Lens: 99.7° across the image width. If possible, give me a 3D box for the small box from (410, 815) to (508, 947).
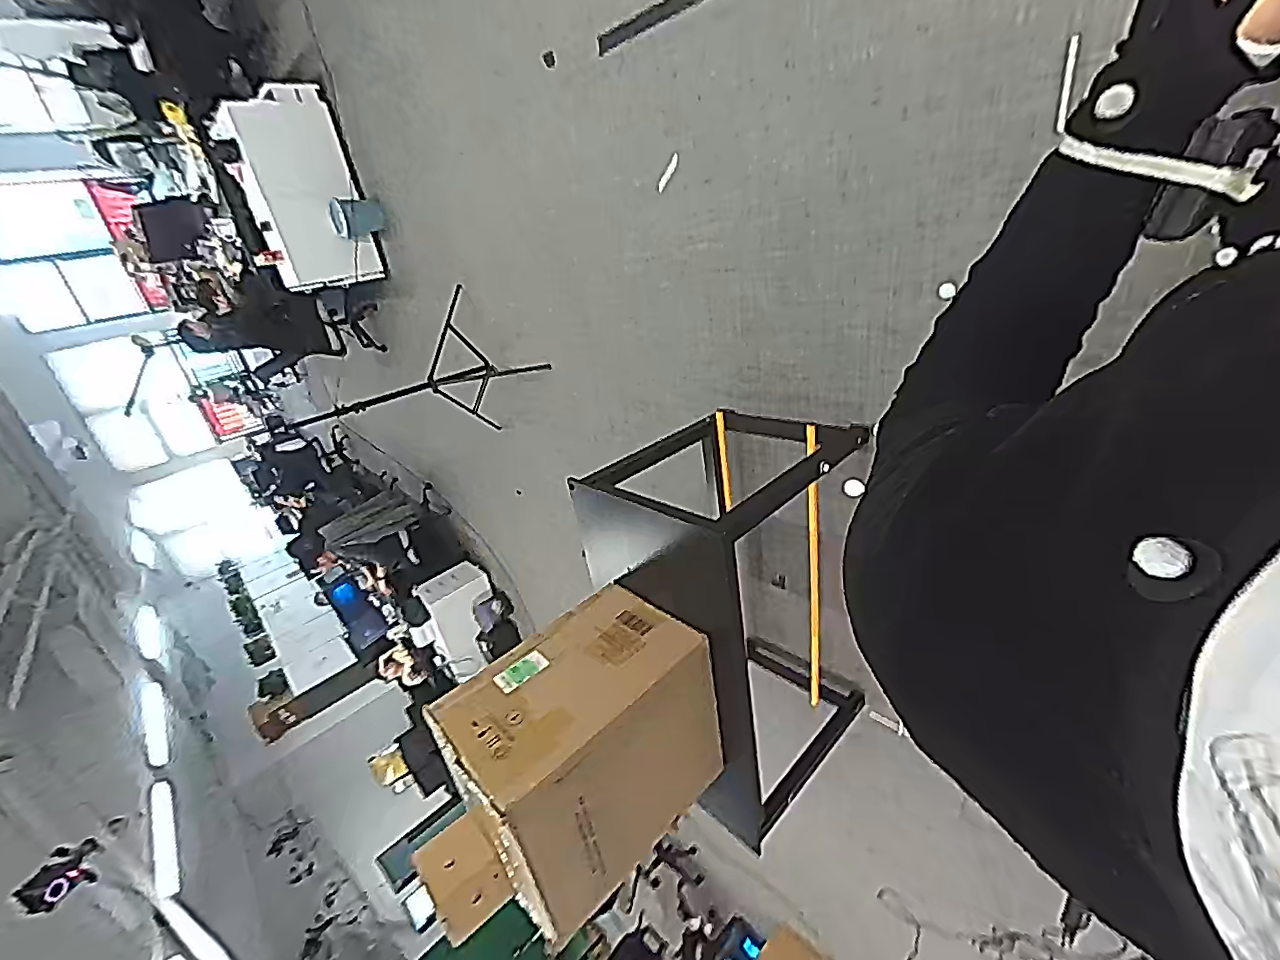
[{"bbox_3d":[-0.456,1.016,1.387,0.179,0.176,0.168,15,124,49],"label":"small box"}]
